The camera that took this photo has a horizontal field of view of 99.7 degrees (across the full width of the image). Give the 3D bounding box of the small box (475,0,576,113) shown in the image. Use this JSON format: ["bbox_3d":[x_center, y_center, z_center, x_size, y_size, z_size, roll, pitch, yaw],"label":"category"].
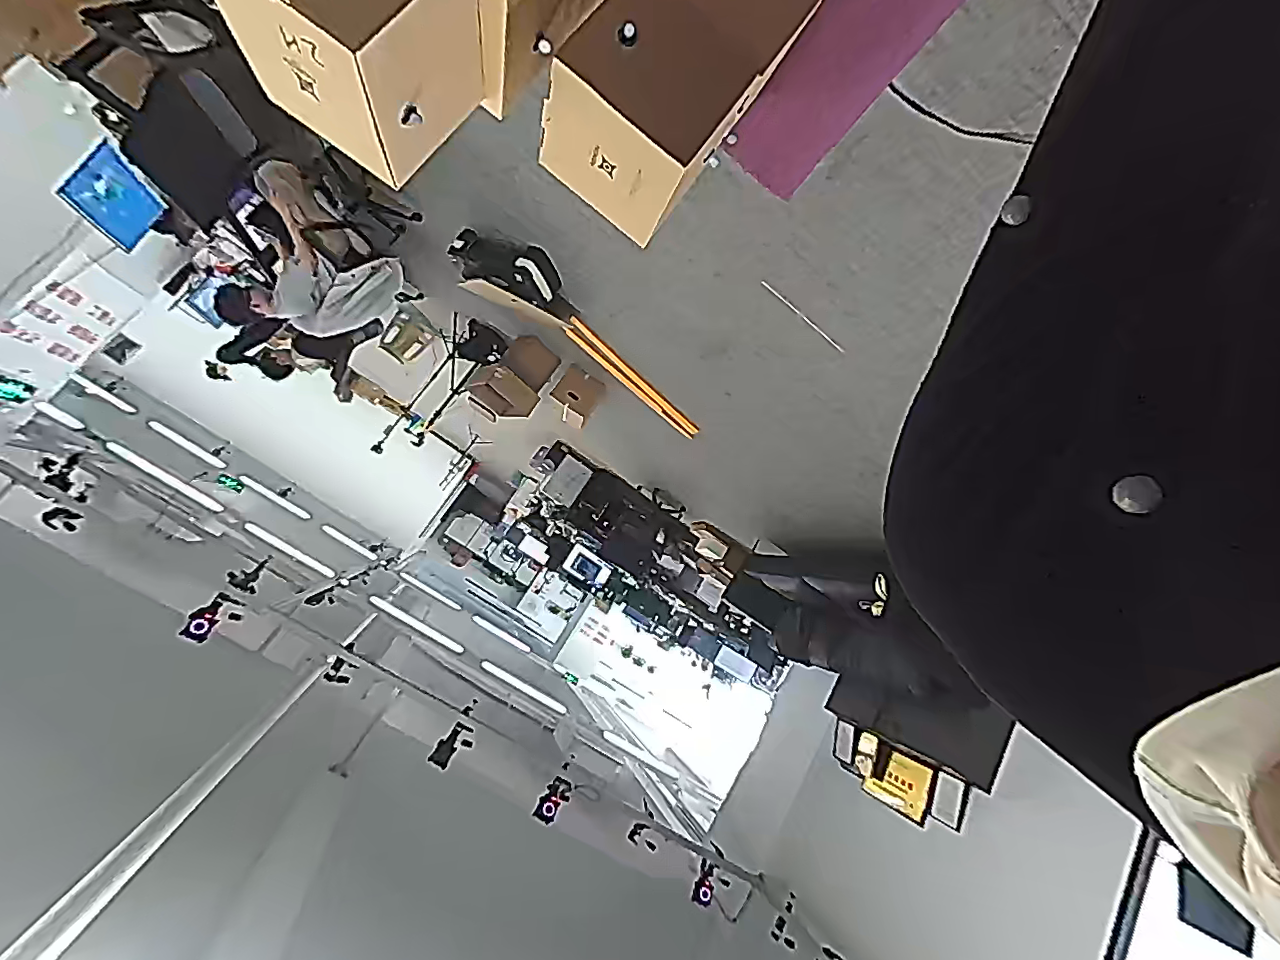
[{"bbox_3d":[-0.173,-0.575,0.598,0.179,0.176,0.168,36,165,-10],"label":"small box"}]

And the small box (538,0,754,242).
[{"bbox_3d":[0.002,-0.443,0.658,0.179,0.176,0.168,36,165,-10],"label":"small box"}]

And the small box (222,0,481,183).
[{"bbox_3d":[-0.276,-0.457,0.540,0.168,0.176,0.179,34,165,-7],"label":"small box"}]
